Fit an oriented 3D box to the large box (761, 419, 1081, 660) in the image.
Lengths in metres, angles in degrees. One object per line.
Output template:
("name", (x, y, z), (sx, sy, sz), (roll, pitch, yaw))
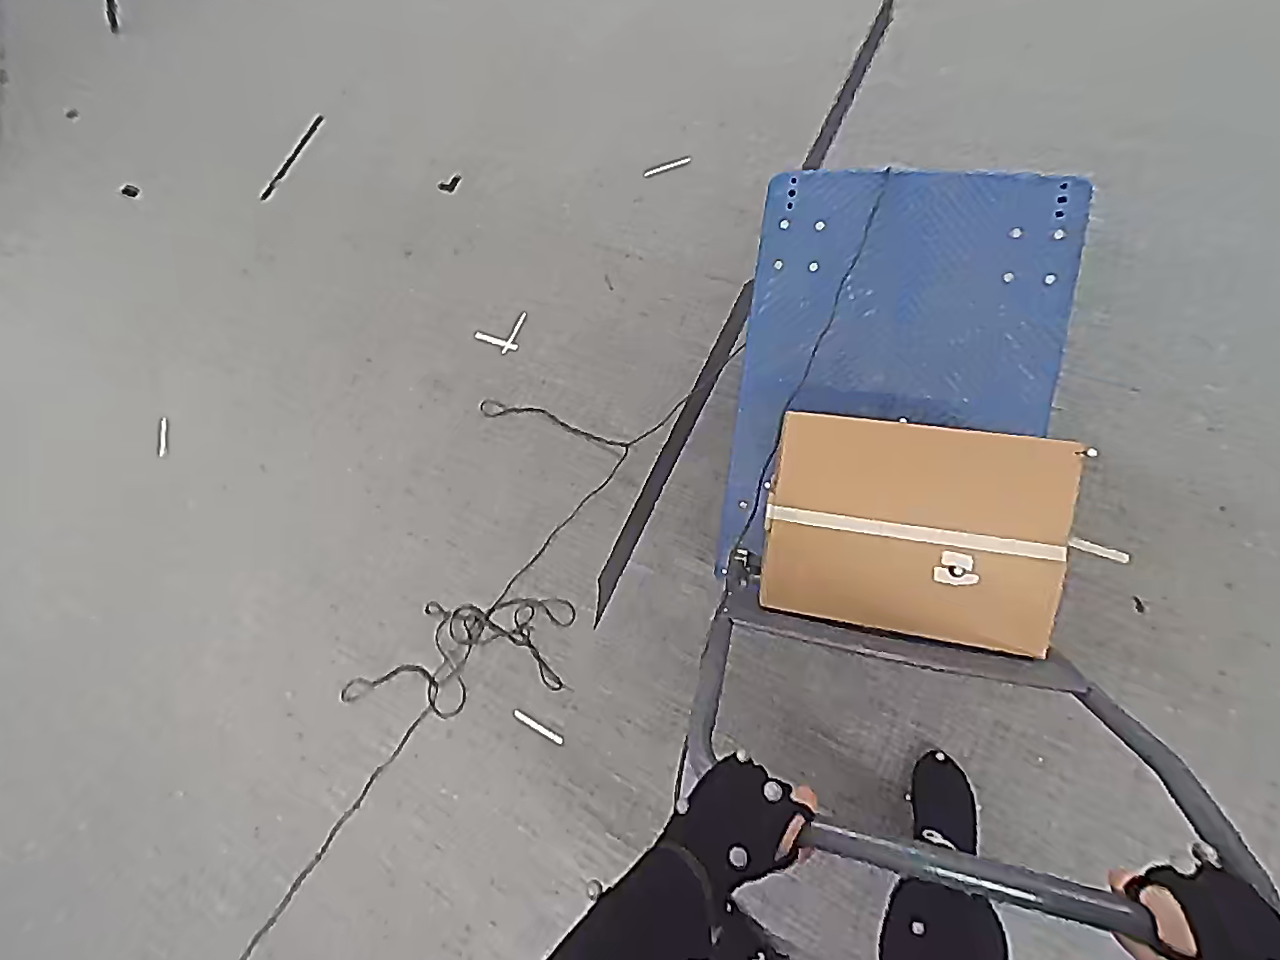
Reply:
("large box", (0.430, 0.074, 0.942), (0.408, 0.320, 0.320), (8, 96, 12))
